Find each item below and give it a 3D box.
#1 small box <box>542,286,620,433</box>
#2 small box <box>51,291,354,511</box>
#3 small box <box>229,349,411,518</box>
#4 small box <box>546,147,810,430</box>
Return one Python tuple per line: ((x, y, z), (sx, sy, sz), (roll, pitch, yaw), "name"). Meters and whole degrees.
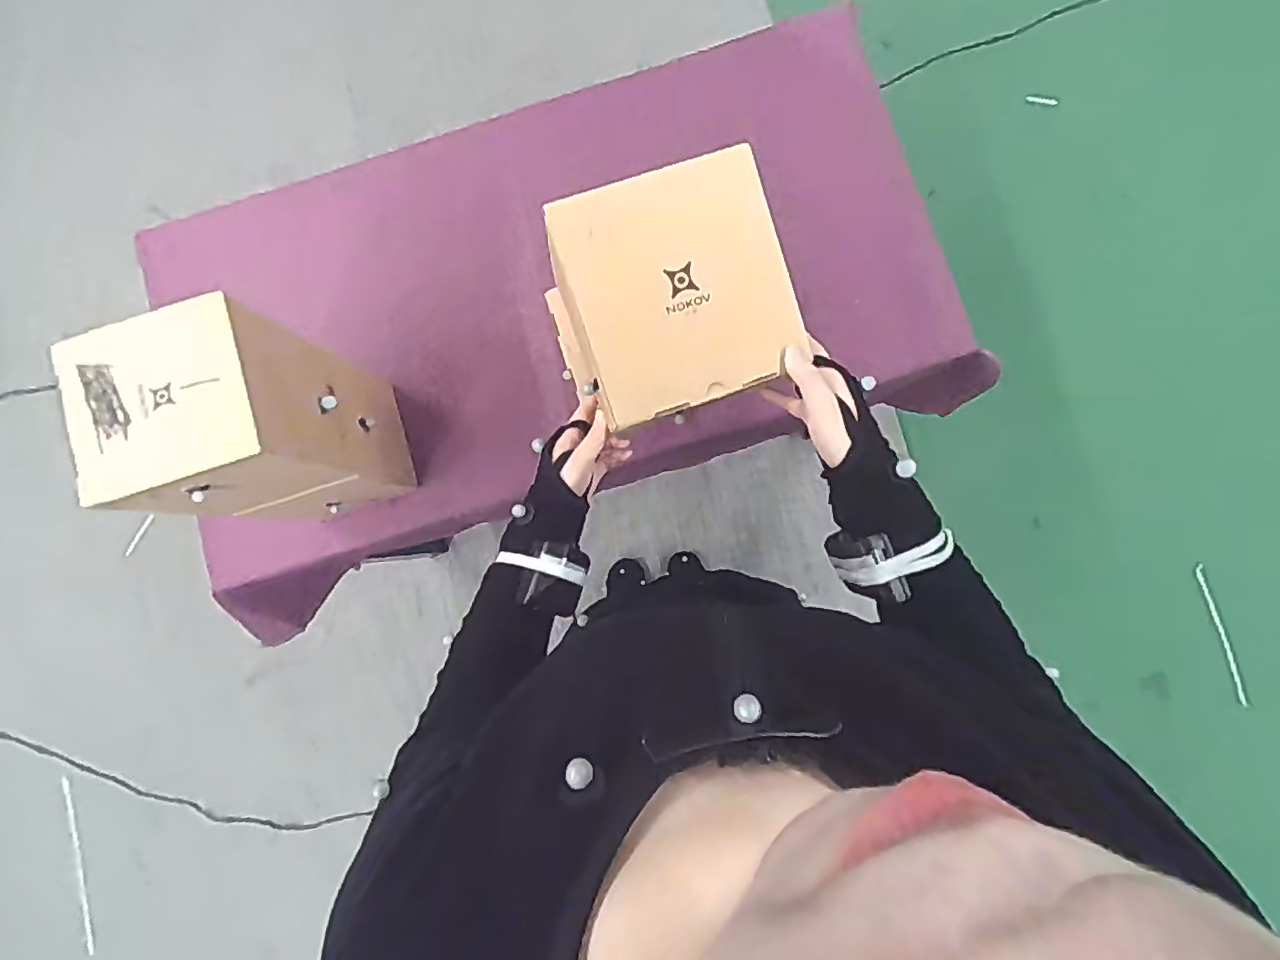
((-0.012, -0.175, 0.740), (0.179, 0.176, 0.168), (-18, 83, 1), "small box")
((-0.450, -0.069, 0.581), (0.179, 0.176, 0.168), (-17, 84, 0), "small box")
((-0.442, -0.051, 0.744), (0.168, 0.176, 0.179), (-17, 83, 0), "small box")
((0.023, -0.150, 0.487), (0.168, 0.176, 0.179), (-19, 96, -4), "small box")
